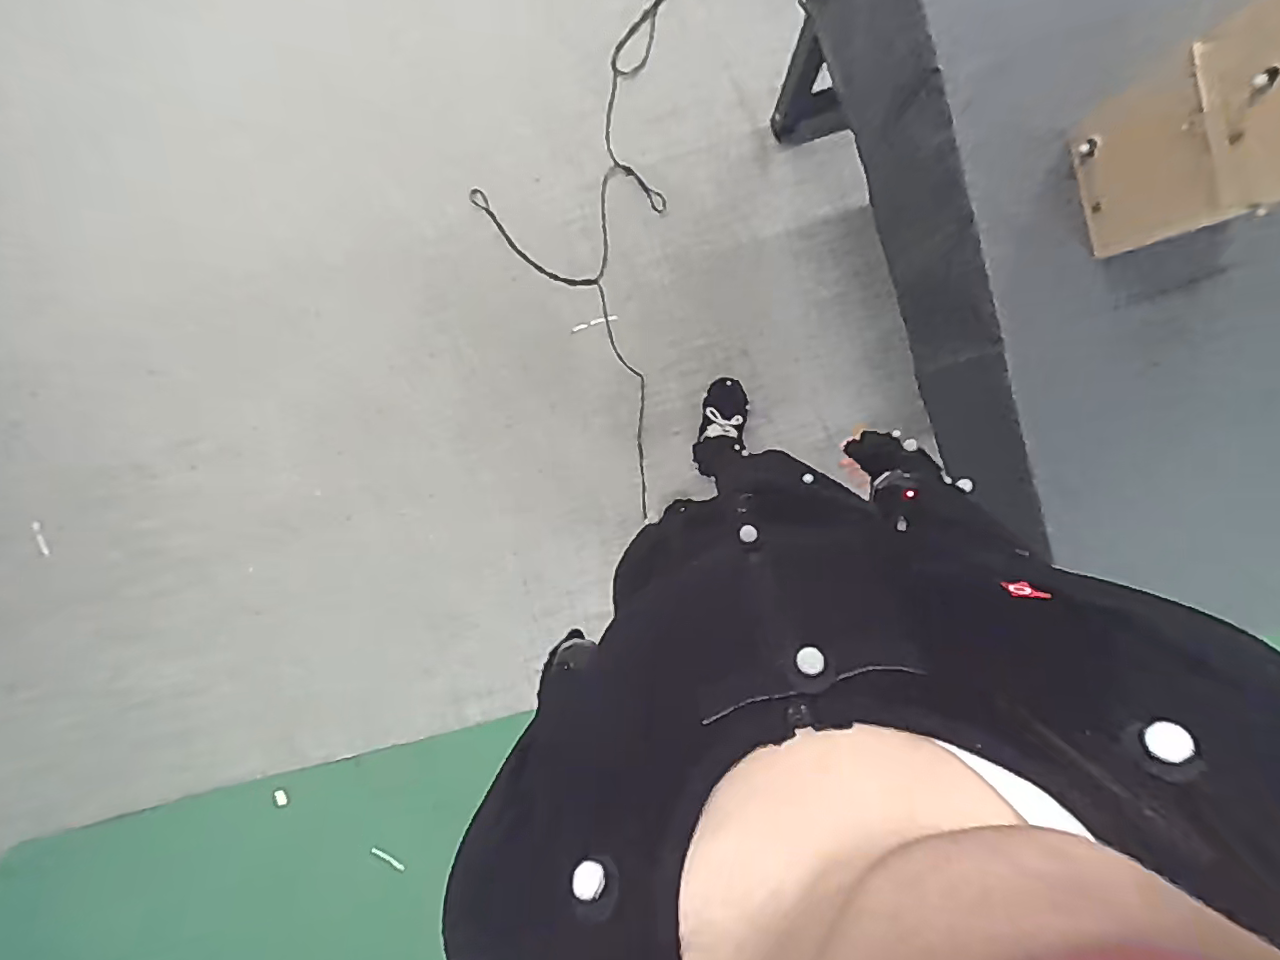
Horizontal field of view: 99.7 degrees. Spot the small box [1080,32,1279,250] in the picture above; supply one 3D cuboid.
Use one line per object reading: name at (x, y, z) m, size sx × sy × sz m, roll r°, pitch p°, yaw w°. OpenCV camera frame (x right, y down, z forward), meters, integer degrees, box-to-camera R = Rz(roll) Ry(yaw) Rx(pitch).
small box at (0.644, -0.385, 0.608) m, size 0.179 × 0.176 × 0.168 m, roll -17°, pitch 95°, yaw 4°
